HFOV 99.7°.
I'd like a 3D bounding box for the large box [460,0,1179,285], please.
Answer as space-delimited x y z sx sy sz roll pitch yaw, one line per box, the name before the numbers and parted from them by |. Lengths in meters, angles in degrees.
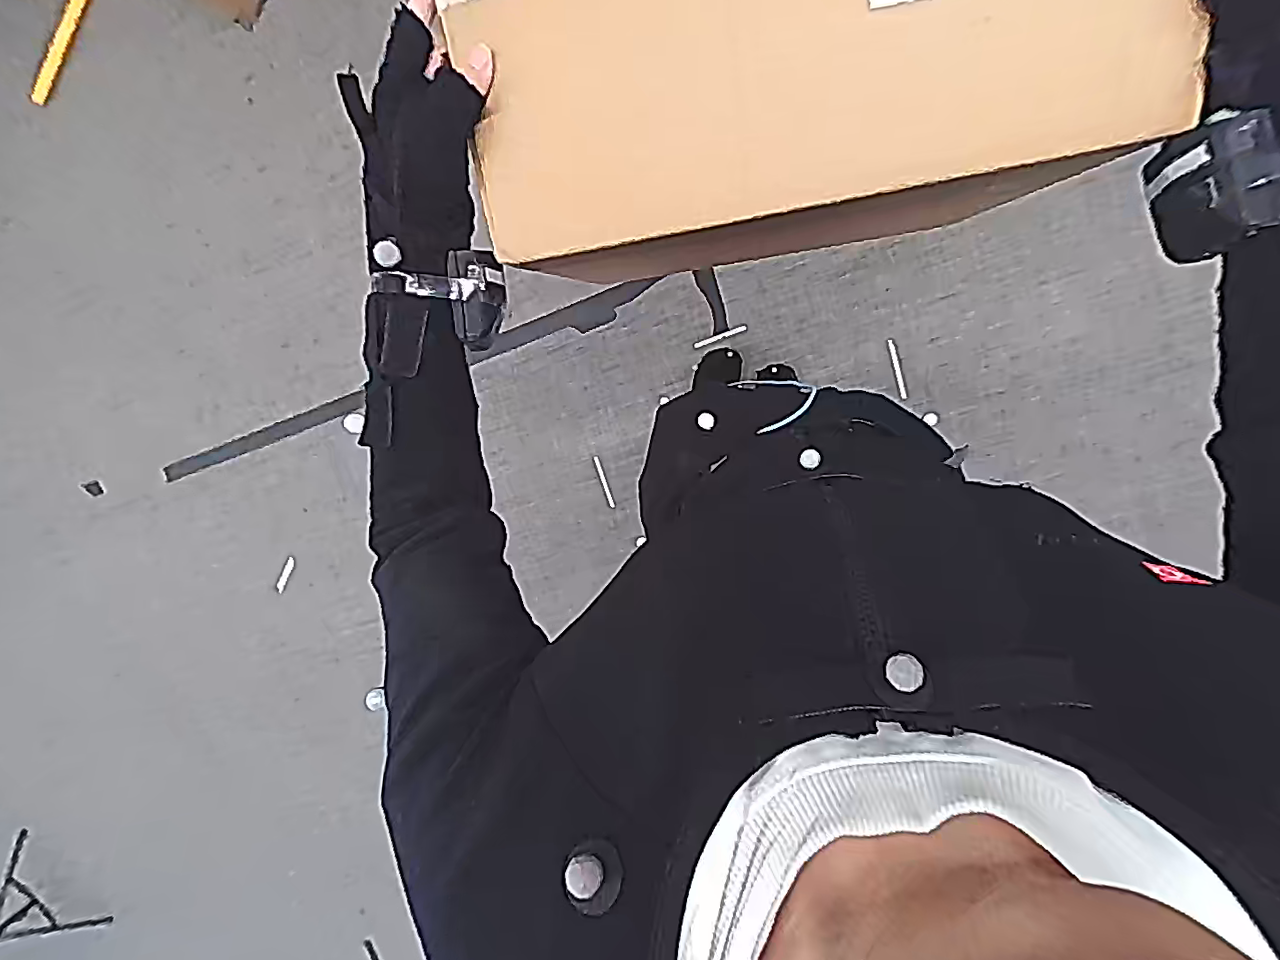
large box | 0.099 -0.364 0.443 0.408 0.320 0.320 -7 106 10
